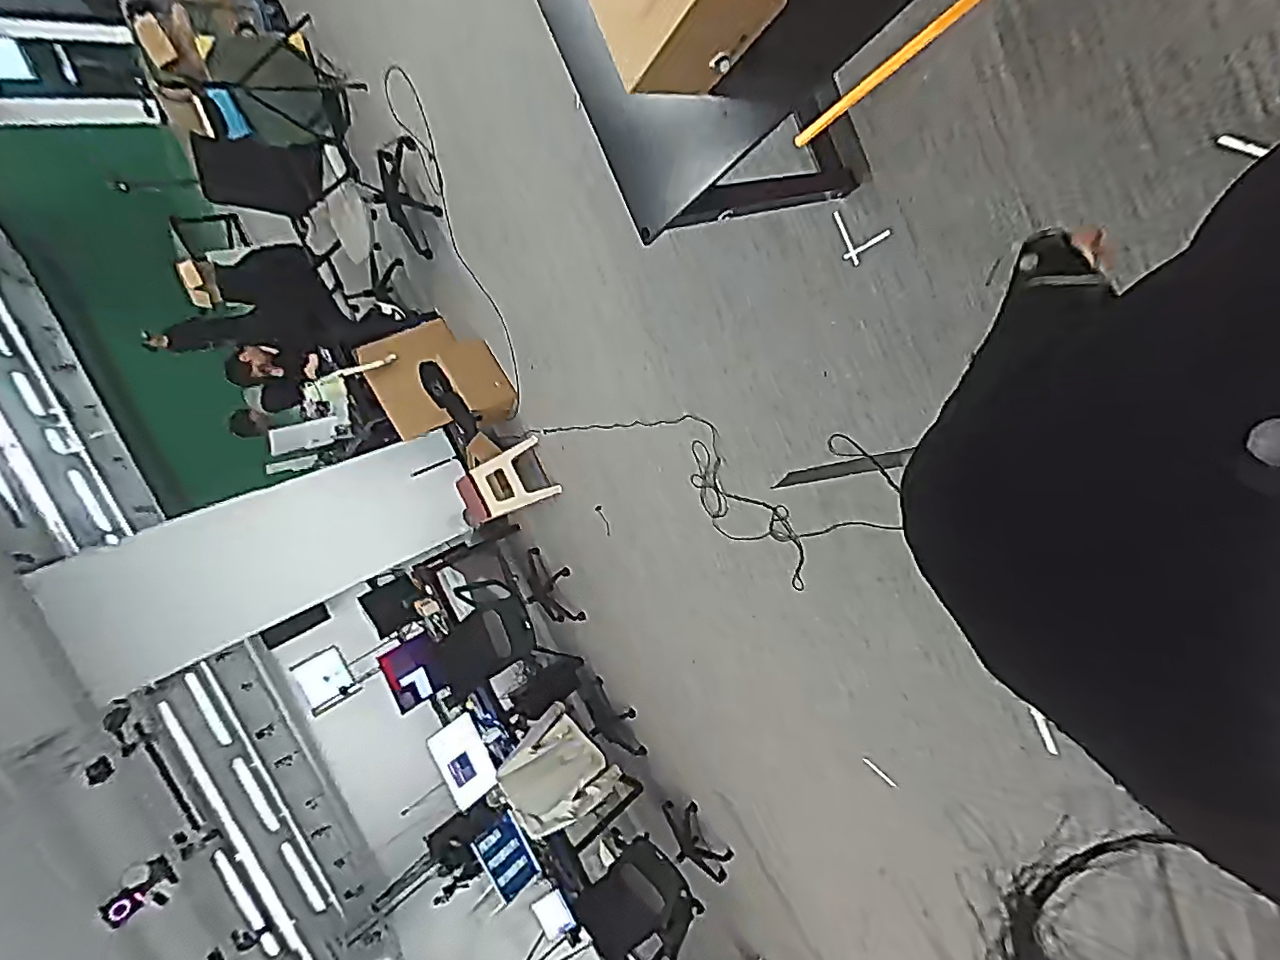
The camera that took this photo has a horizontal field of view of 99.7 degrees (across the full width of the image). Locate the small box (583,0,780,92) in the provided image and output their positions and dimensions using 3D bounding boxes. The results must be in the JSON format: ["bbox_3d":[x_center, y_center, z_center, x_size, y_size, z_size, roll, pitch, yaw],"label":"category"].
[{"bbox_3d":[0.046,-0.643,0.700,0.168,0.176,0.179,-17,100,57],"label":"small box"}]
